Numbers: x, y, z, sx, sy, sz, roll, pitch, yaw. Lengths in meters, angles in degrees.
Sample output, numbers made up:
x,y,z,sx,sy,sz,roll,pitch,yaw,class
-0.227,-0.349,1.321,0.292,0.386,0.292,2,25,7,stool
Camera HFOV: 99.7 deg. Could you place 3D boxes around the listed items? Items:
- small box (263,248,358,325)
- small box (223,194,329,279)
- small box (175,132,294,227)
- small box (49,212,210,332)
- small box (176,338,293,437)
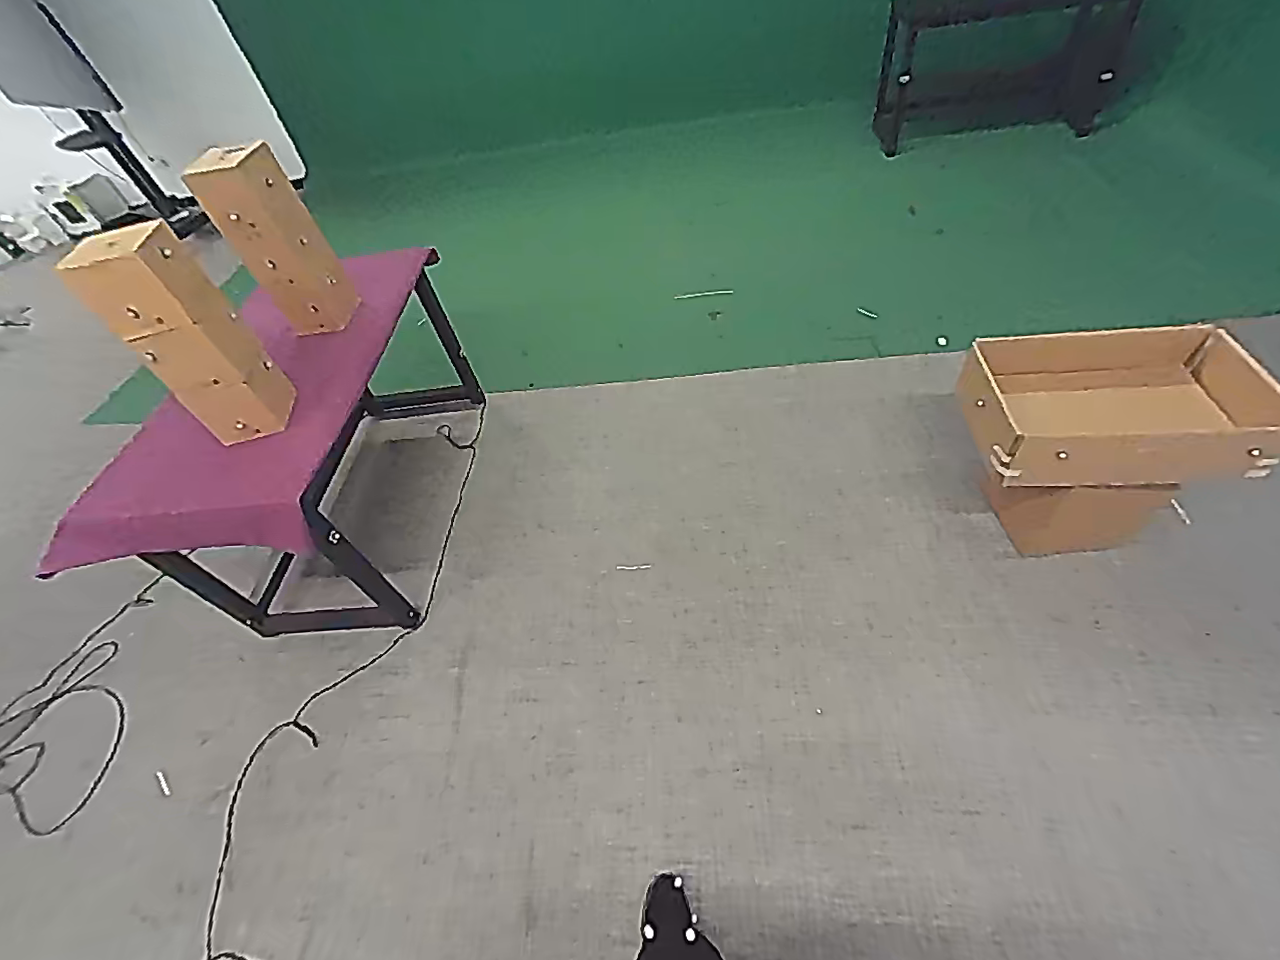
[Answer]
x,y,z,sx,sy,sz,roll,pitch,yaw,class
-1.039,-0.611,1.725,0.168,0.176,0.179,-3,51,8,small box
-1.064,-0.713,1.600,0.168,0.176,0.179,-4,52,6,small box
-1.088,-0.816,1.474,0.168,0.176,0.179,-5,52,6,small box
-1.091,-0.451,1.177,0.168,0.176,0.179,-16,50,-4,small box
-1.054,-0.242,1.425,0.168,0.176,0.179,-15,50,-2,small box
